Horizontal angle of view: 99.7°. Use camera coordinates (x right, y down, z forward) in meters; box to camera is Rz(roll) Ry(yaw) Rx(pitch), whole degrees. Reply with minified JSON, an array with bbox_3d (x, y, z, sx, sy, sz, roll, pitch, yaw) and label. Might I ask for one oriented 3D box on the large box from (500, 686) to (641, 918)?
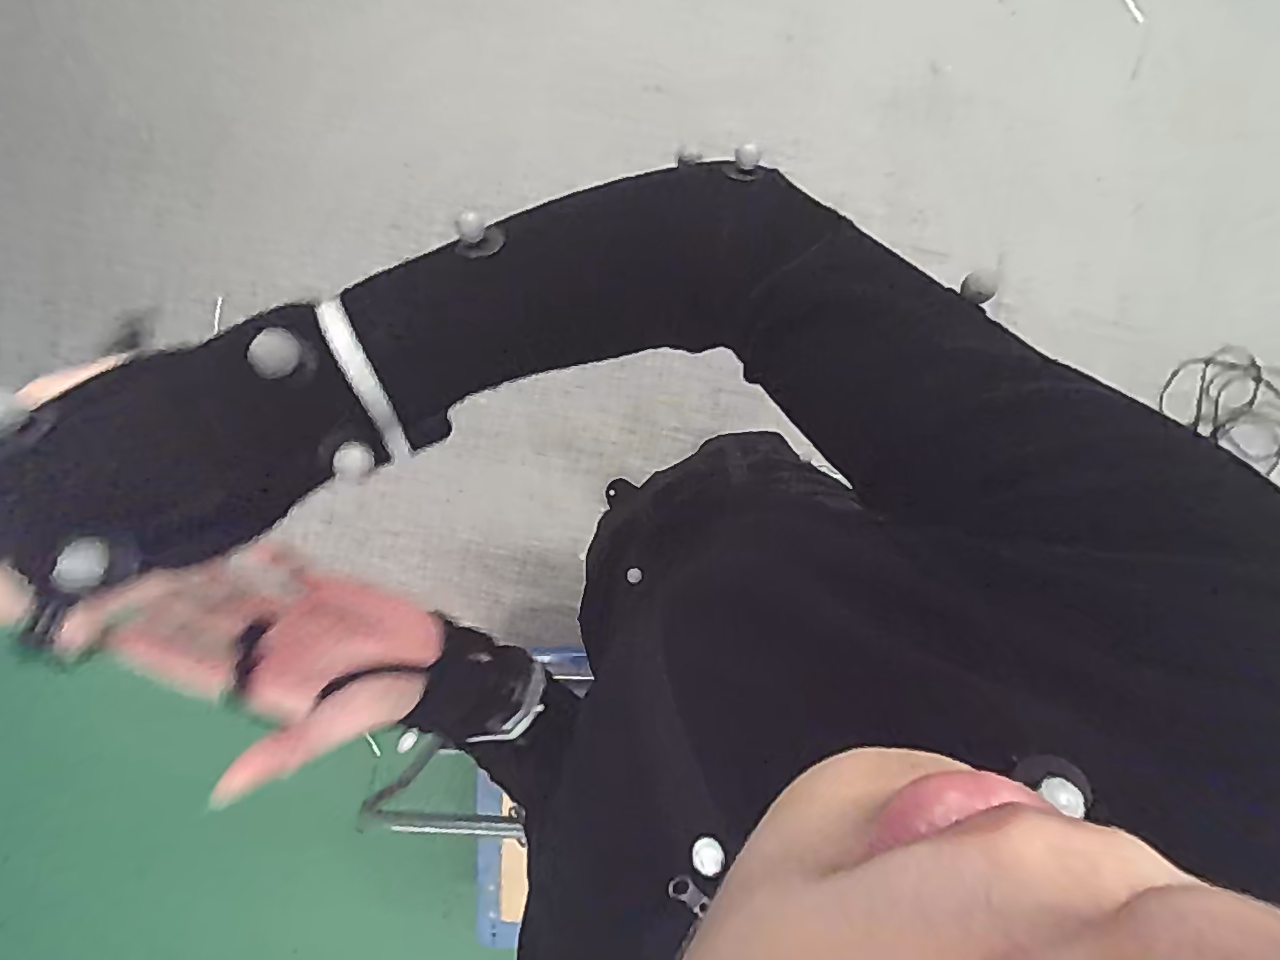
[{"bbox_3d":[-0.155,0.771,1.349,0.320,0.320,0.408,1,94,1],"label":"large box"}]
